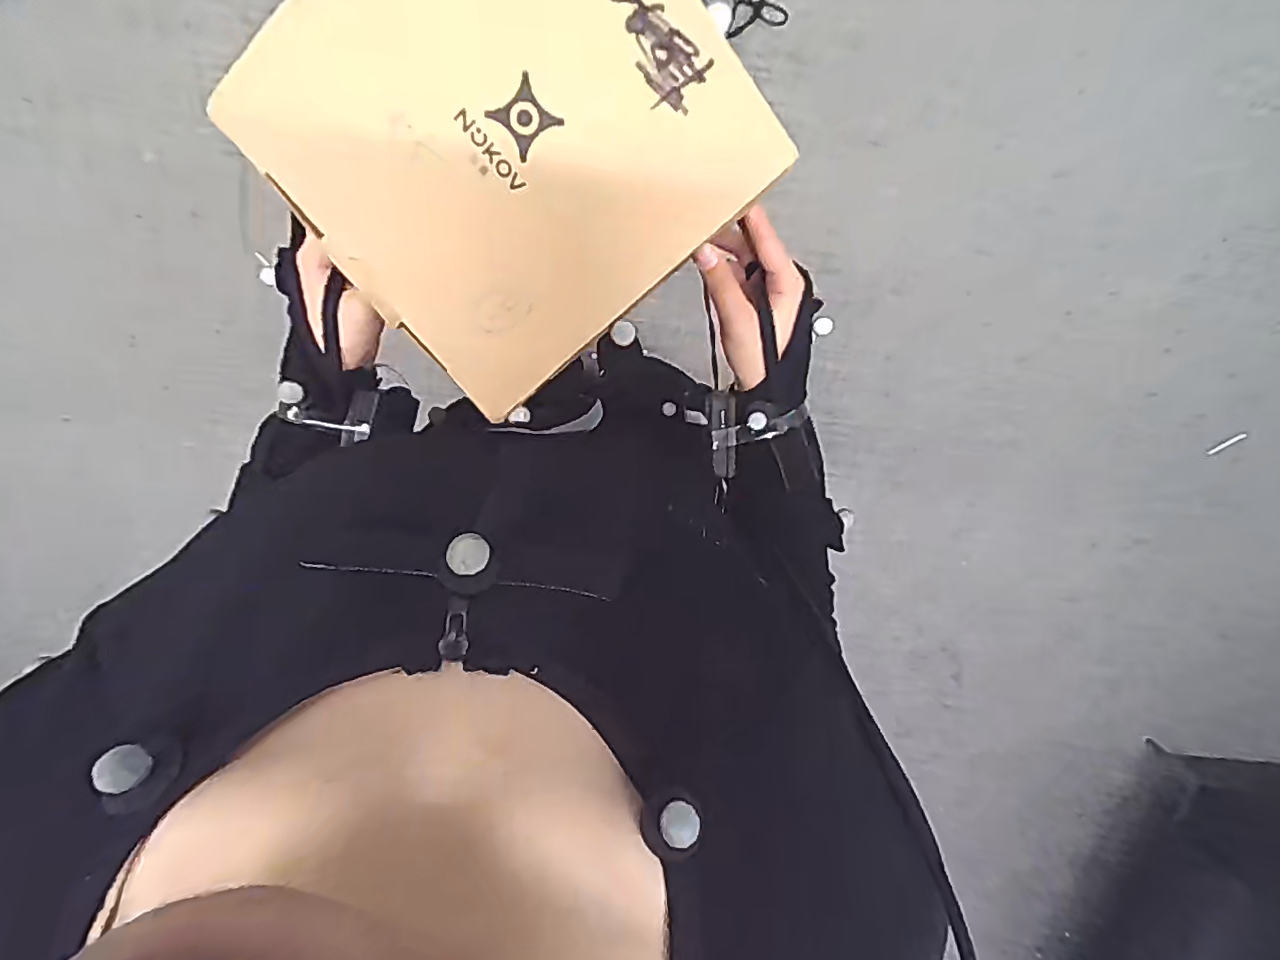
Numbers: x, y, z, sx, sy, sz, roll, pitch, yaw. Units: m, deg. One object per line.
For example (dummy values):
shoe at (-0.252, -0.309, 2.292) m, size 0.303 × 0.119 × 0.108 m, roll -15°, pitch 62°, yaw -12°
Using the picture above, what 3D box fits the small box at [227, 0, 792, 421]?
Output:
small box at (-0.051, -0.160, 0.296) m, size 0.179 × 0.176 × 0.168 m, roll -38°, pitch 104°, yaw 11°
